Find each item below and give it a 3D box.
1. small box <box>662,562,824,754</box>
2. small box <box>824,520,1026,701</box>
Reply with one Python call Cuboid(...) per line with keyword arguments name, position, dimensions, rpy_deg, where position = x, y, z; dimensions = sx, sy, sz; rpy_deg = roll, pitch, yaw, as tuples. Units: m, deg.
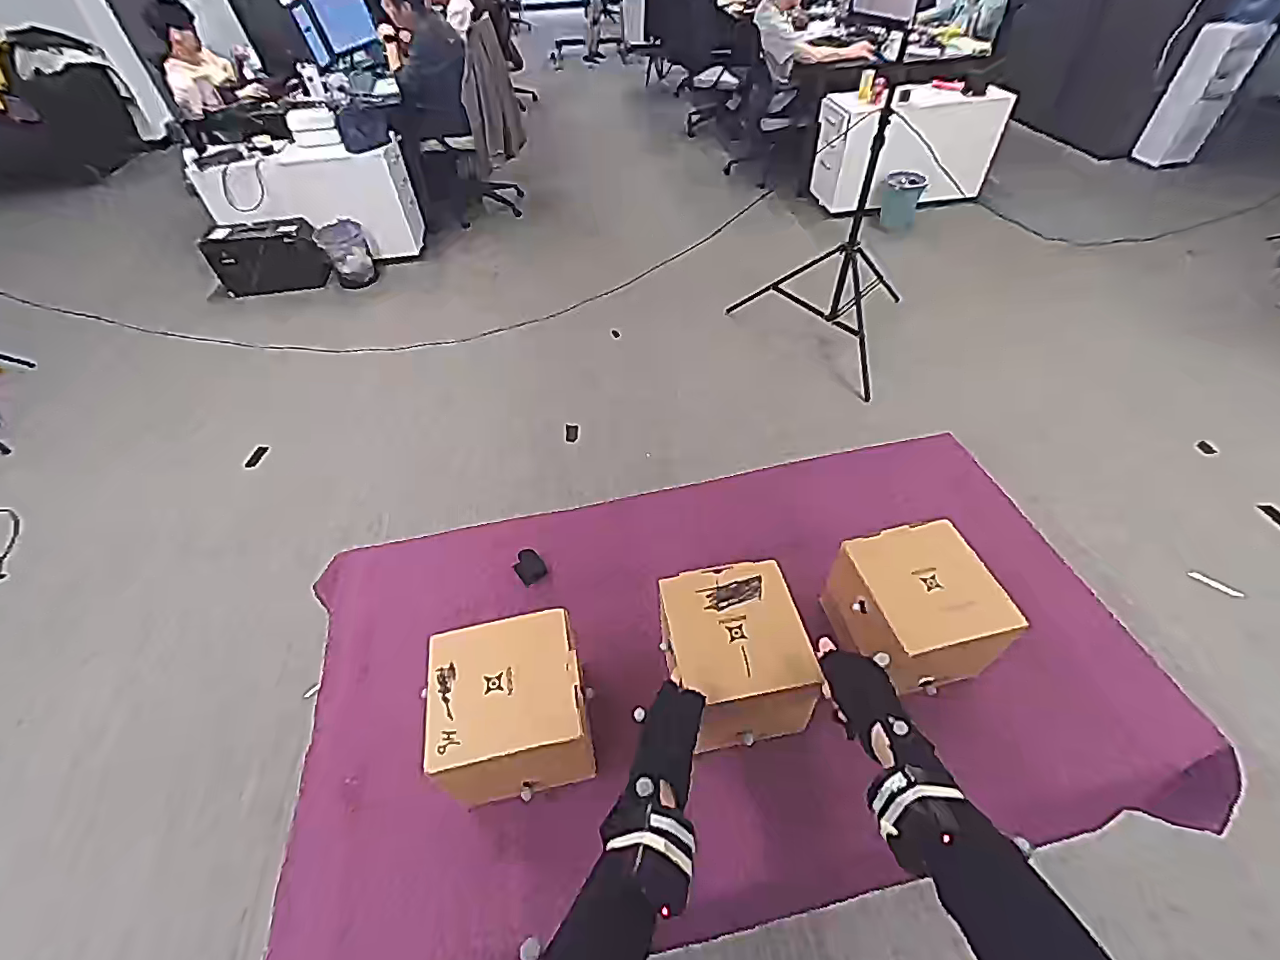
Cuboid(name="small box", position=(0.125, 0.240, 0.732), dimensions=(0.168, 0.176, 0.179), rpy_deg=(-10, 45, -3))
Cuboid(name="small box", position=(0.387, 0.188, 0.777), dimensions=(0.168, 0.176, 0.179), rpy_deg=(-12, 49, -7))
